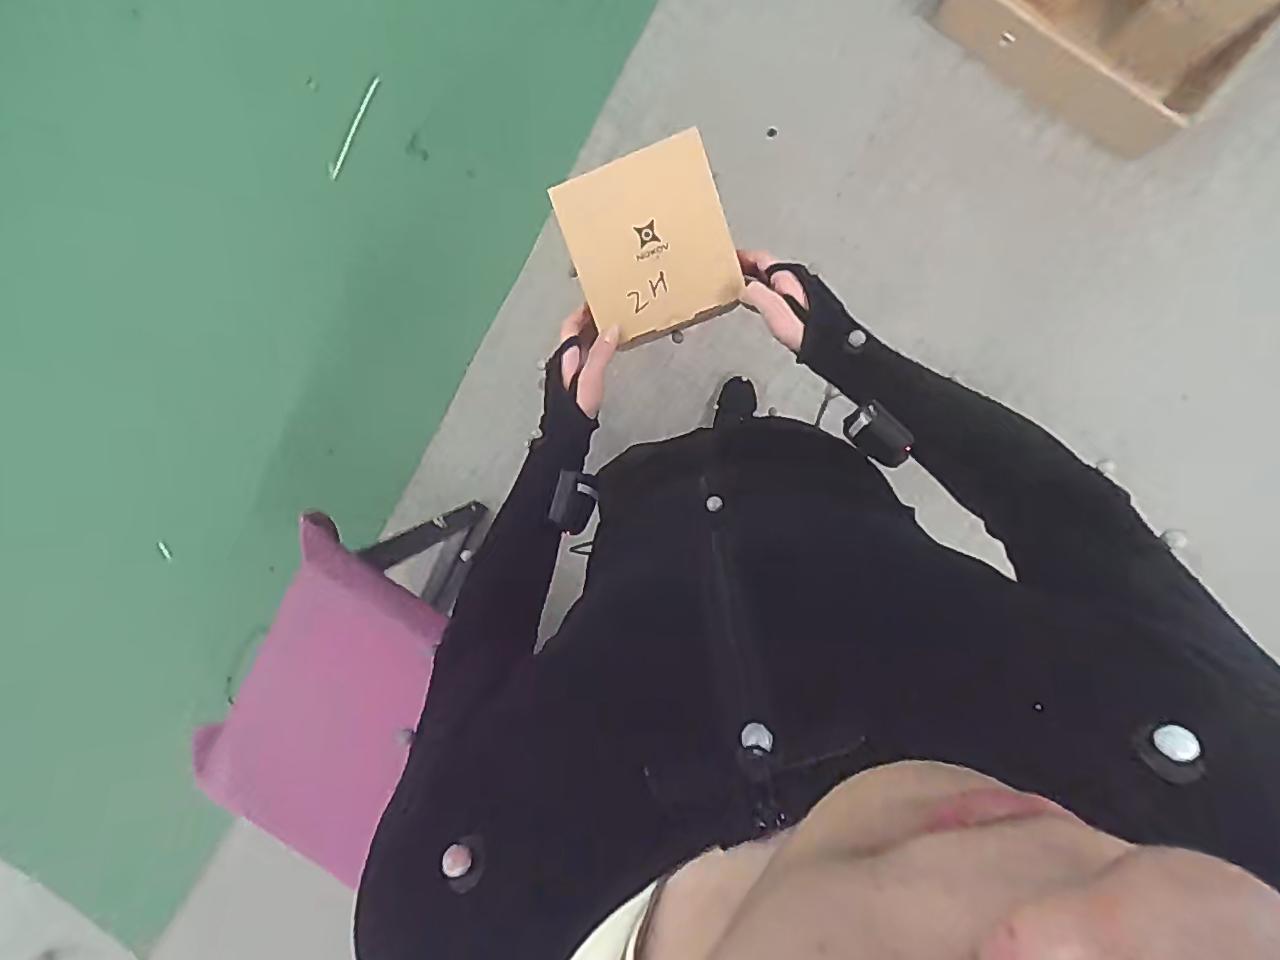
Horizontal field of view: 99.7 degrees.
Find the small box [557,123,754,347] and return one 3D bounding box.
[{"bbox_3d":[0.021,-0.265,0.633,0.168,0.176,0.179,-18,101,8],"label":"small box"}]

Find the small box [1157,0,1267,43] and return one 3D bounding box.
[{"bbox_3d":[1.144,-0.993,1.019,0.168,0.176,0.179,39,100,3],"label":"small box"}]
